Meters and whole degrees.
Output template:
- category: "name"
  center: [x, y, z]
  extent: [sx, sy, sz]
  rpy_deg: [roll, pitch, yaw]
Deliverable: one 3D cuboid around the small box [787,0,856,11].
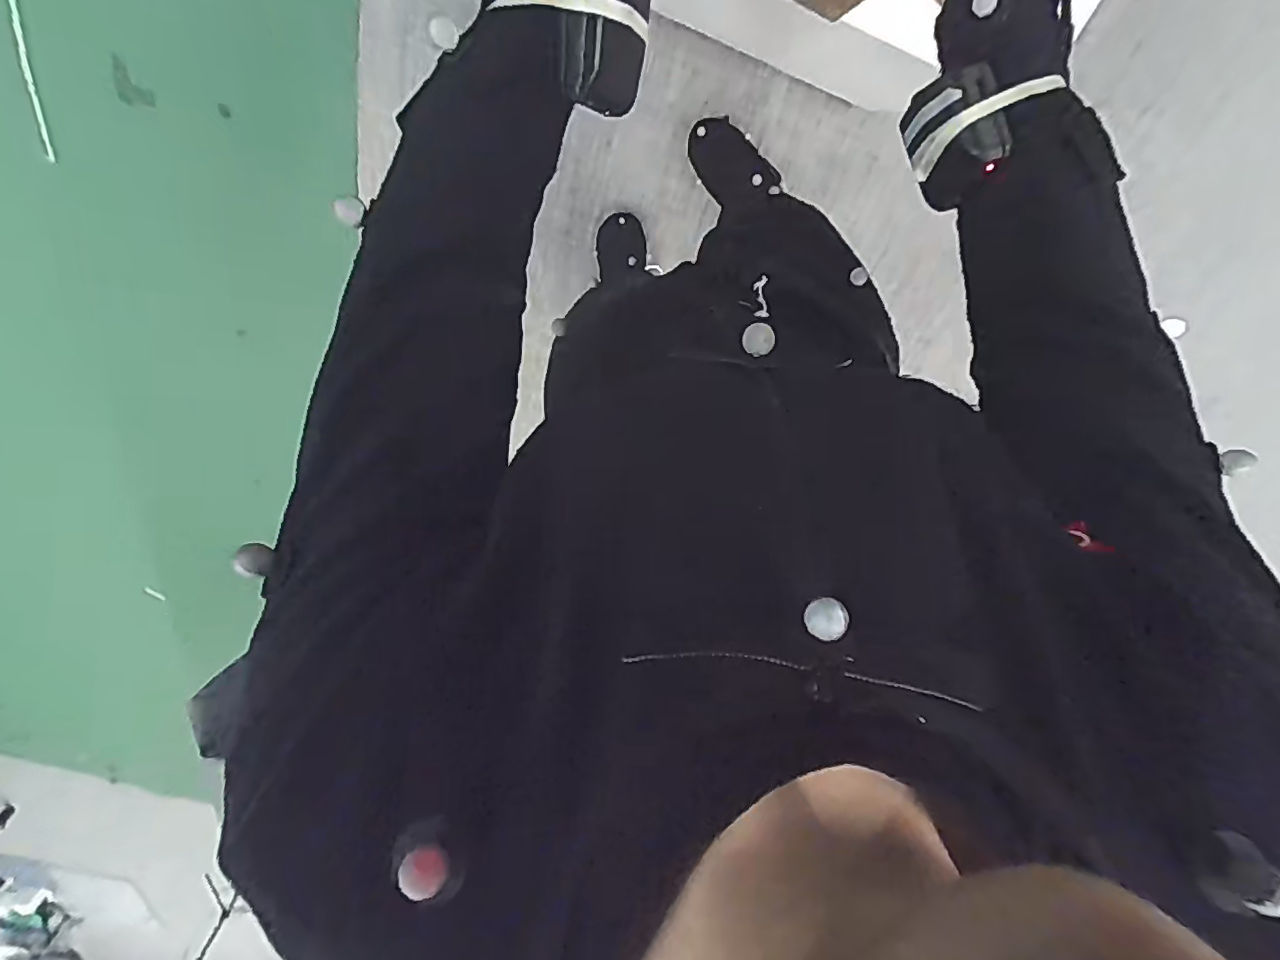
- category: "small box"
  center: [0.124, -0.471, 0.379]
  extent: [0.179, 0.176, 0.168]
  rpy_deg: [21, 121, -8]
